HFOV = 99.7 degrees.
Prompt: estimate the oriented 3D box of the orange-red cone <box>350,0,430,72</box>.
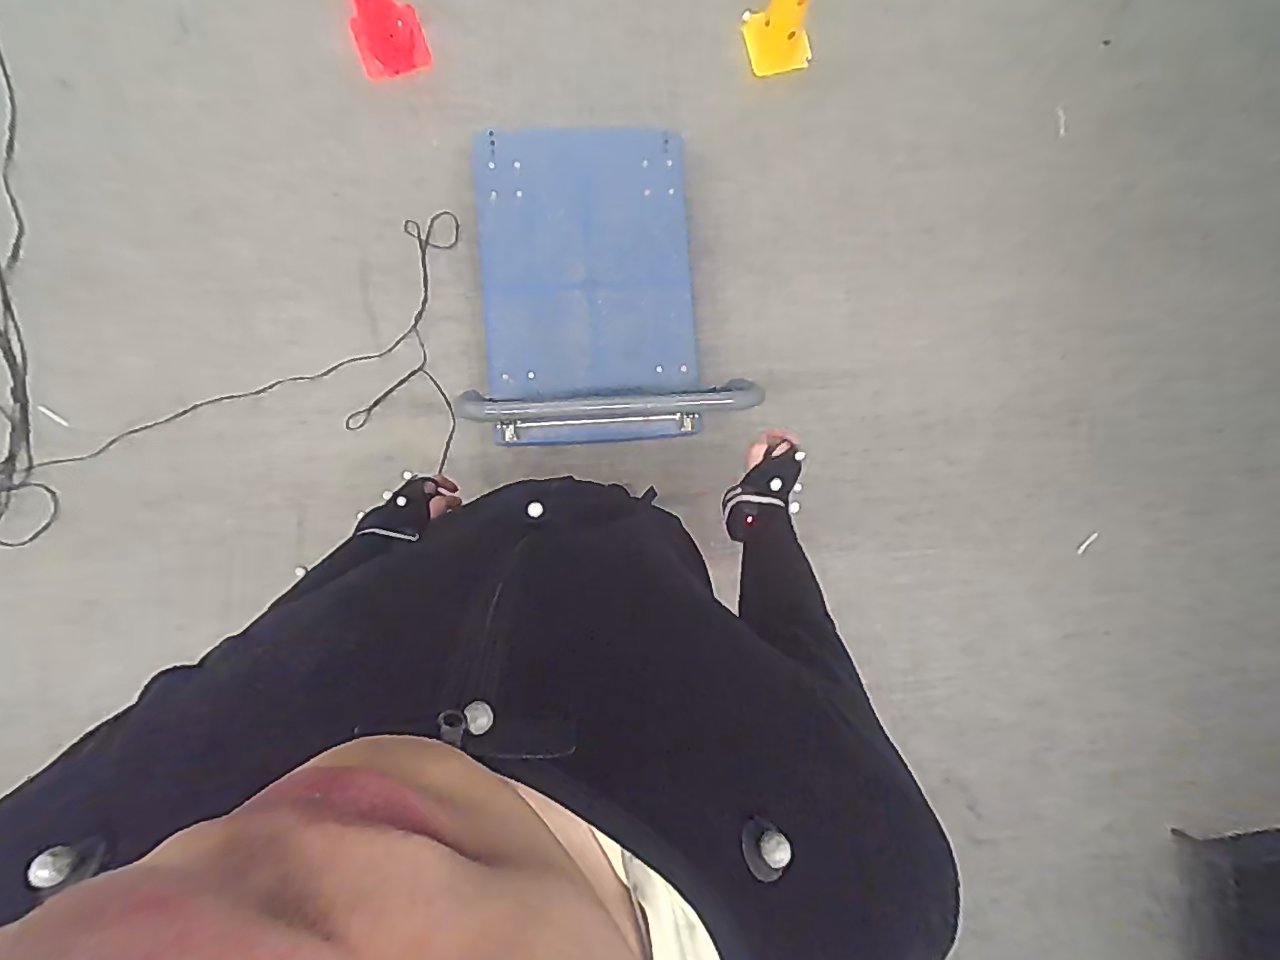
[{"bbox_3d":[-0.726,-1.320,1.428,0.199,0.360,0.198,-19,90,-4],"label":"orange-red cone"}]
